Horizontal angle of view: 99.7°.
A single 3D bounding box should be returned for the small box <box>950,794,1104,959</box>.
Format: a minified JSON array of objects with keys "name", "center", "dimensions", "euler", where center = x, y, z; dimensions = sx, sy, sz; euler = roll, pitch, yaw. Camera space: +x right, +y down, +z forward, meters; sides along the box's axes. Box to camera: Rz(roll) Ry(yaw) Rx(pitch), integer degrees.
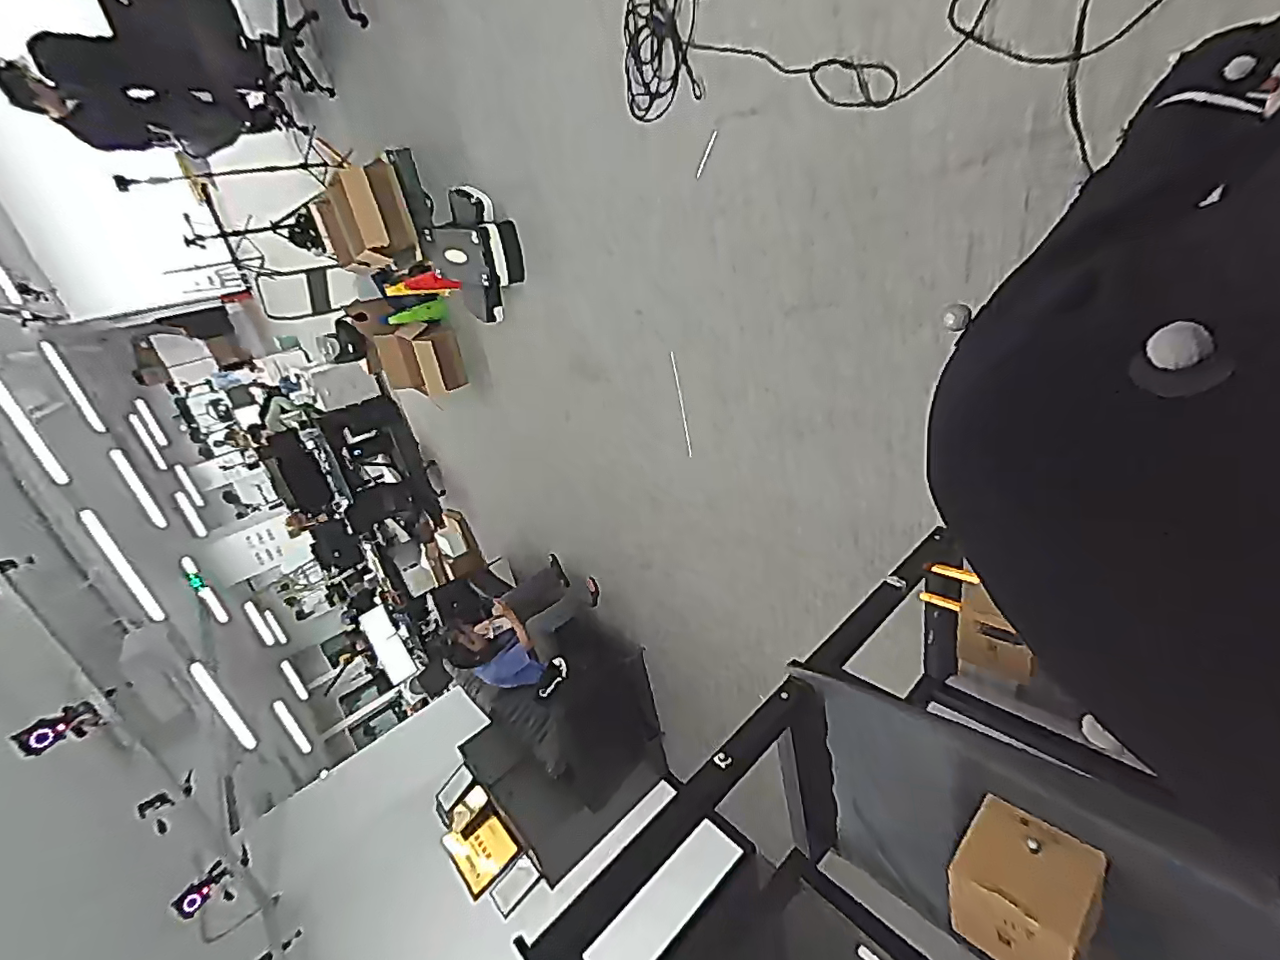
[{"name":"small box","center":[0.629,0.670,0.883],"dimensions":[0.168,0.176,0.179],"euler":[13,125,48]}]
